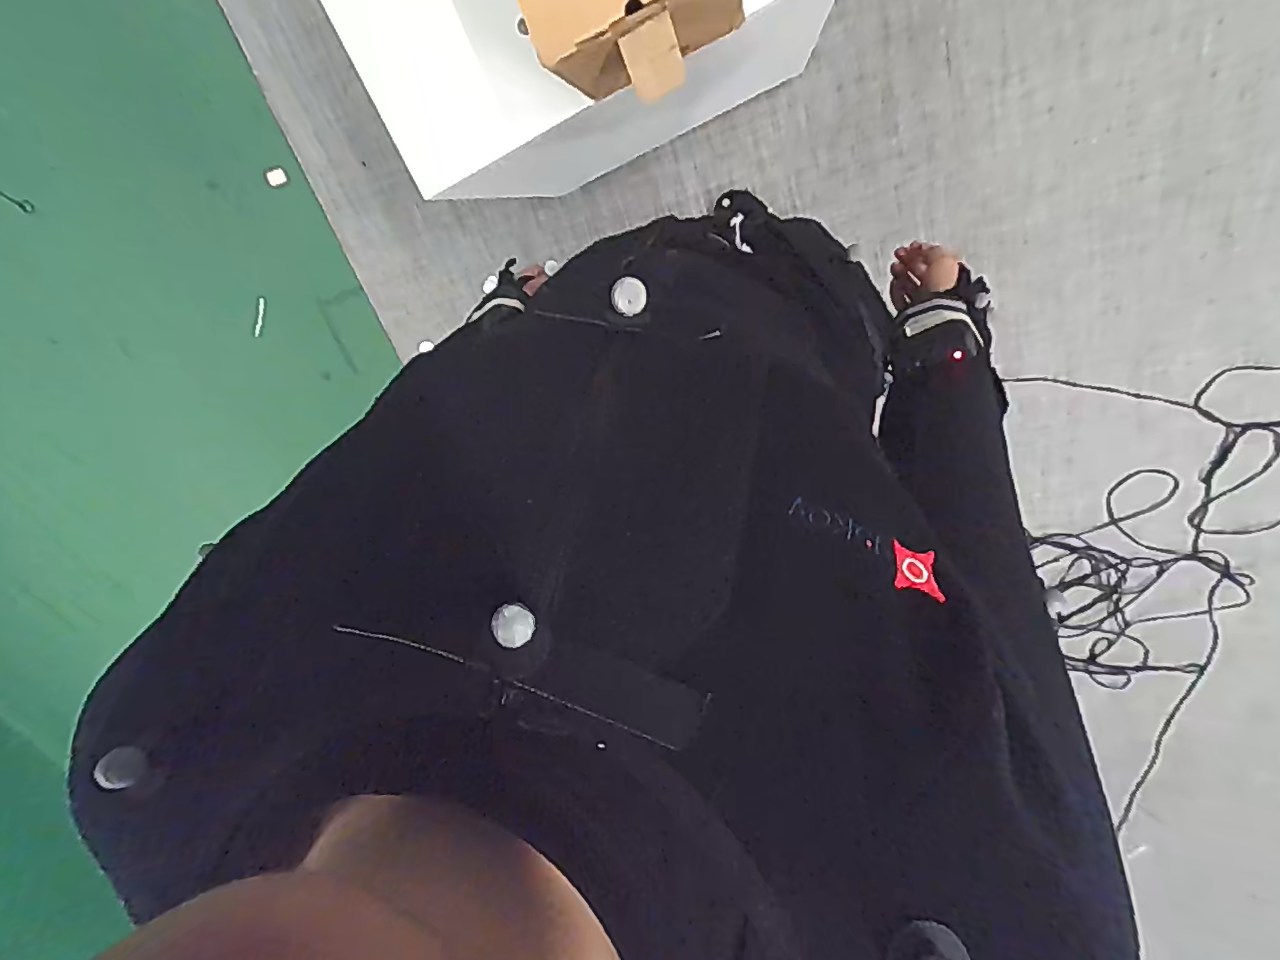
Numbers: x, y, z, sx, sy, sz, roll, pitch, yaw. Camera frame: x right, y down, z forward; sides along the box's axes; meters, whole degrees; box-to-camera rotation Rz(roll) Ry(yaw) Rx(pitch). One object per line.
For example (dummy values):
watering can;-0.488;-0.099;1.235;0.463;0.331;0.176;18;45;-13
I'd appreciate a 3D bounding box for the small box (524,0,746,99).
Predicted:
small box;-0.015;-0.457;0.446;0.168;0.176;0.179;-16;113;18
